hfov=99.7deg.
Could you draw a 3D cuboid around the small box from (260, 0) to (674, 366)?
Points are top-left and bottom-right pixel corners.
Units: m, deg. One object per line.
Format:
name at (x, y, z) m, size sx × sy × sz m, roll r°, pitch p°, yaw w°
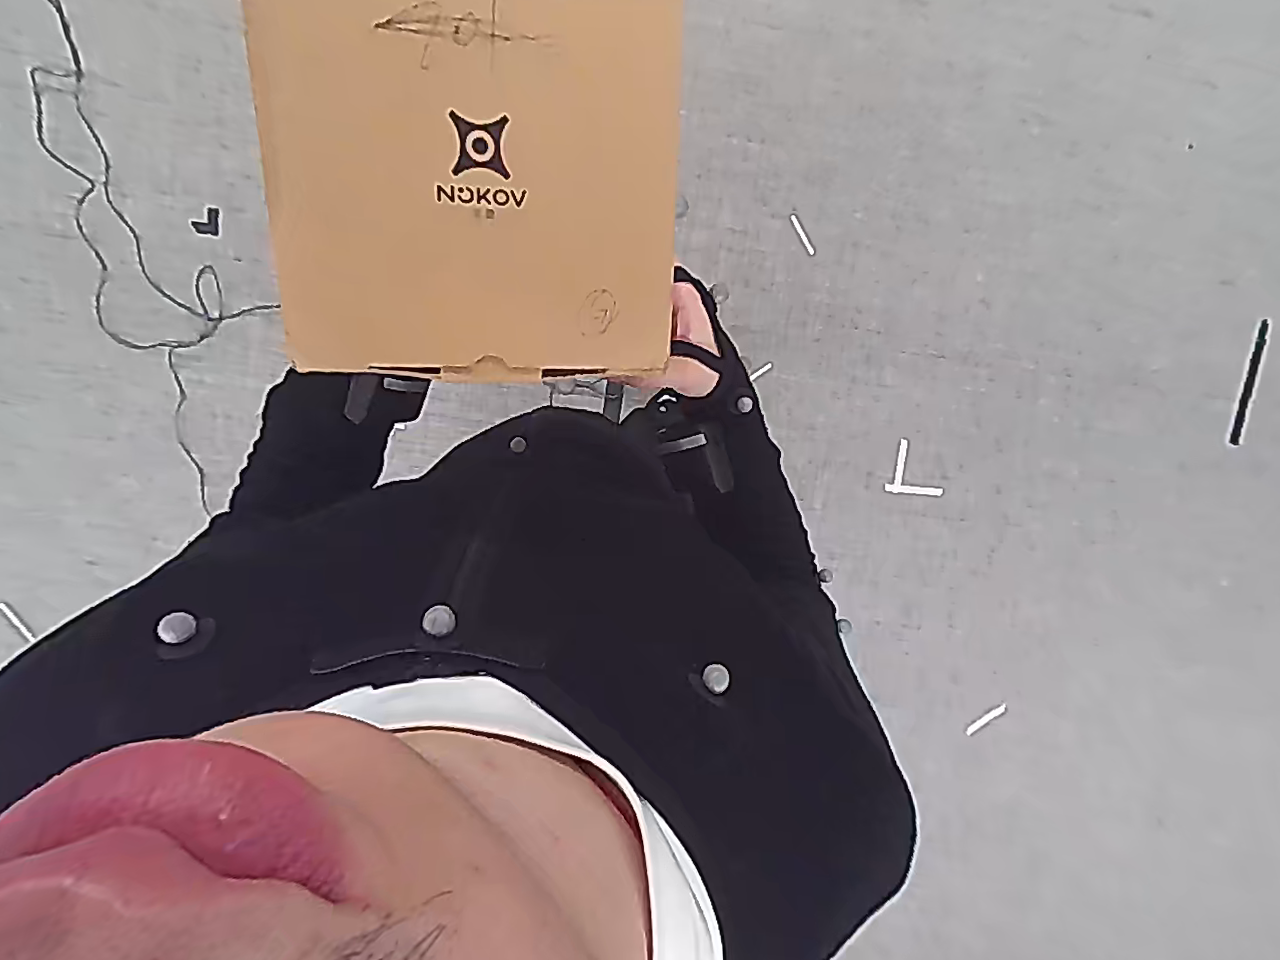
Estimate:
small box at (-0.080, -0.159, 0.310) m, size 0.168 × 0.176 × 0.179 m, roll -2°, pitch 104°, yaw -10°
